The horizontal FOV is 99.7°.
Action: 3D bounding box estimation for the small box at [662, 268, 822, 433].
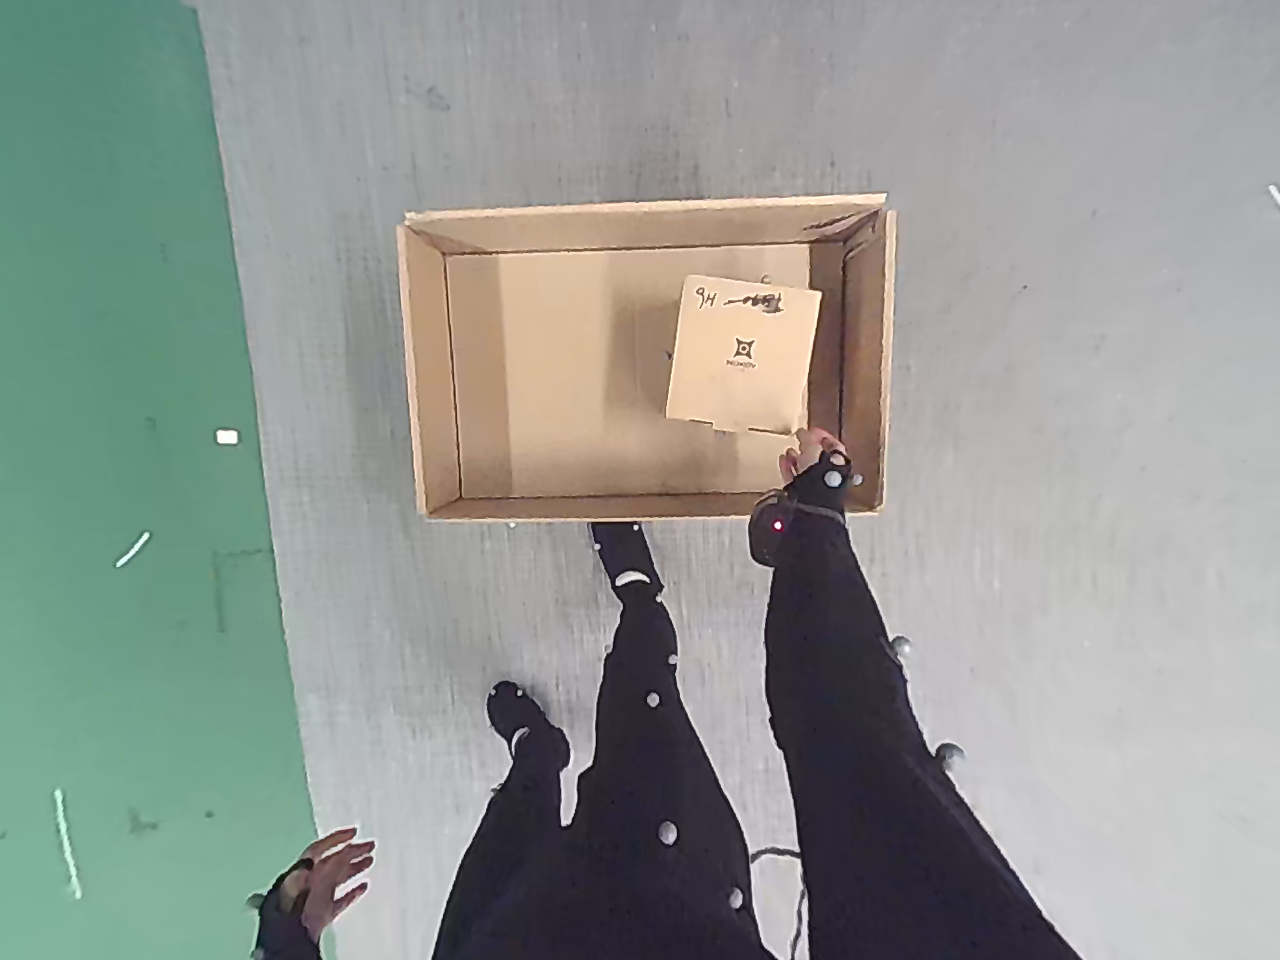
[{"bbox_3d":[0.124,-0.166,0.727,0.168,0.176,0.179,8,99,0],"label":"small box"}]
